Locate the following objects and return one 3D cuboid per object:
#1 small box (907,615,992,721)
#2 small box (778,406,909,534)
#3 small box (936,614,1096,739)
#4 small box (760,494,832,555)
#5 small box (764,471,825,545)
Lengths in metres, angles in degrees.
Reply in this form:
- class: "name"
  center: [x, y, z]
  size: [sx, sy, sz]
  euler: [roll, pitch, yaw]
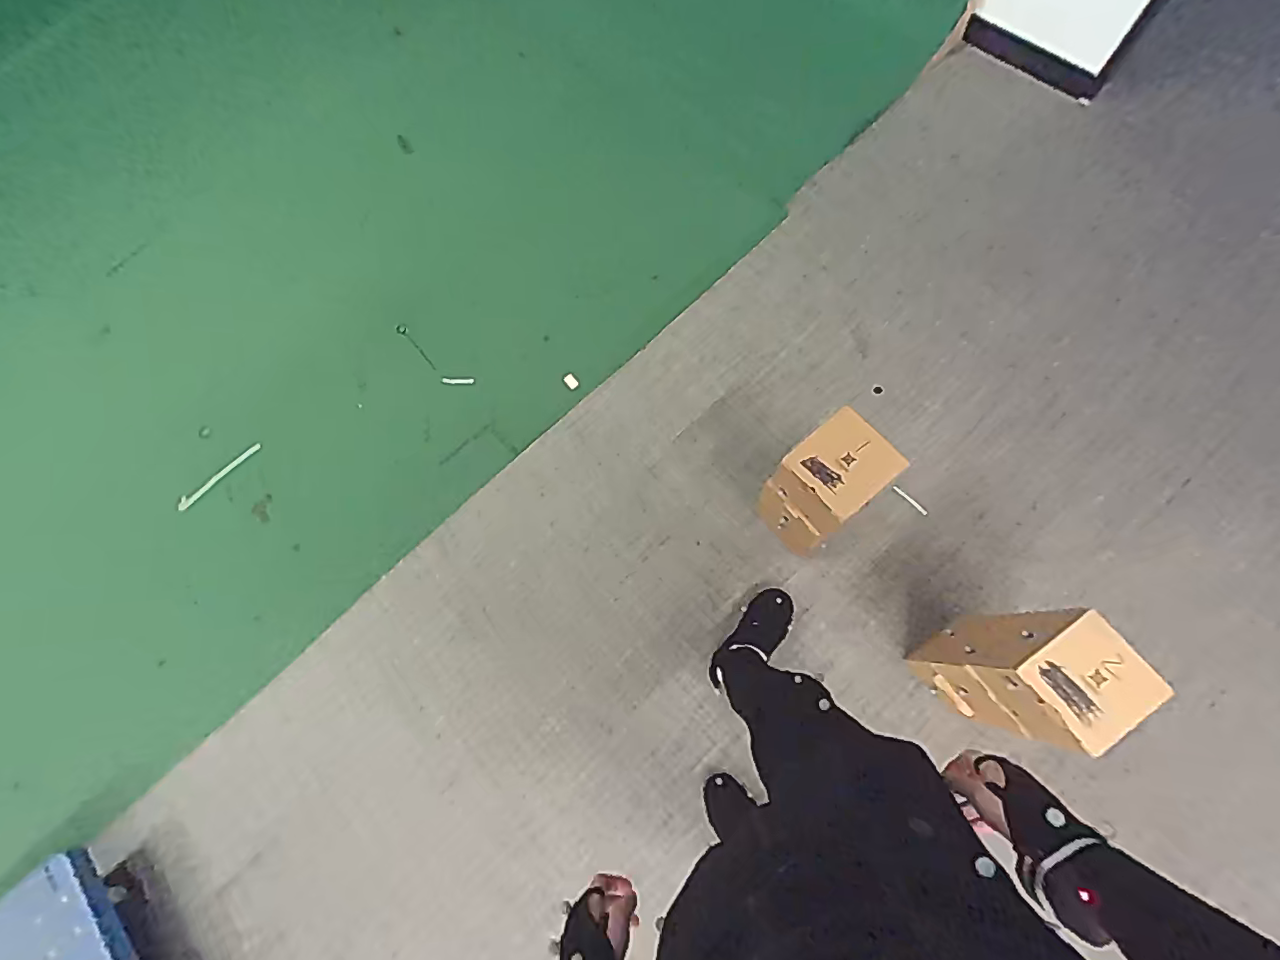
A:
- class: "small box"
  center: [0.768, 0.434, 1.267]
  size: [0.179, 0.176, 0.168]
  euler: [-32, 71, -2]
- class: "small box"
  center: [0.399, -0.011, 1.100]
  size: [0.179, 0.176, 0.168]
  euler: [-40, 73, -5]
- class: "small box"
  center: [0.757, 0.394, 1.112]
  size: [0.179, 0.176, 0.168]
  euler: [-37, 74, -4]
- class: "small box"
  center: [0.432, 0.078, 1.414]
  size: [0.168, 0.176, 0.179]
  euler: [-38, 73, -4]
- class: "small box"
  center: [0.407, 0.032, 1.260]
  size: [0.179, 0.176, 0.168]
  euler: [-39, 73, -3]
